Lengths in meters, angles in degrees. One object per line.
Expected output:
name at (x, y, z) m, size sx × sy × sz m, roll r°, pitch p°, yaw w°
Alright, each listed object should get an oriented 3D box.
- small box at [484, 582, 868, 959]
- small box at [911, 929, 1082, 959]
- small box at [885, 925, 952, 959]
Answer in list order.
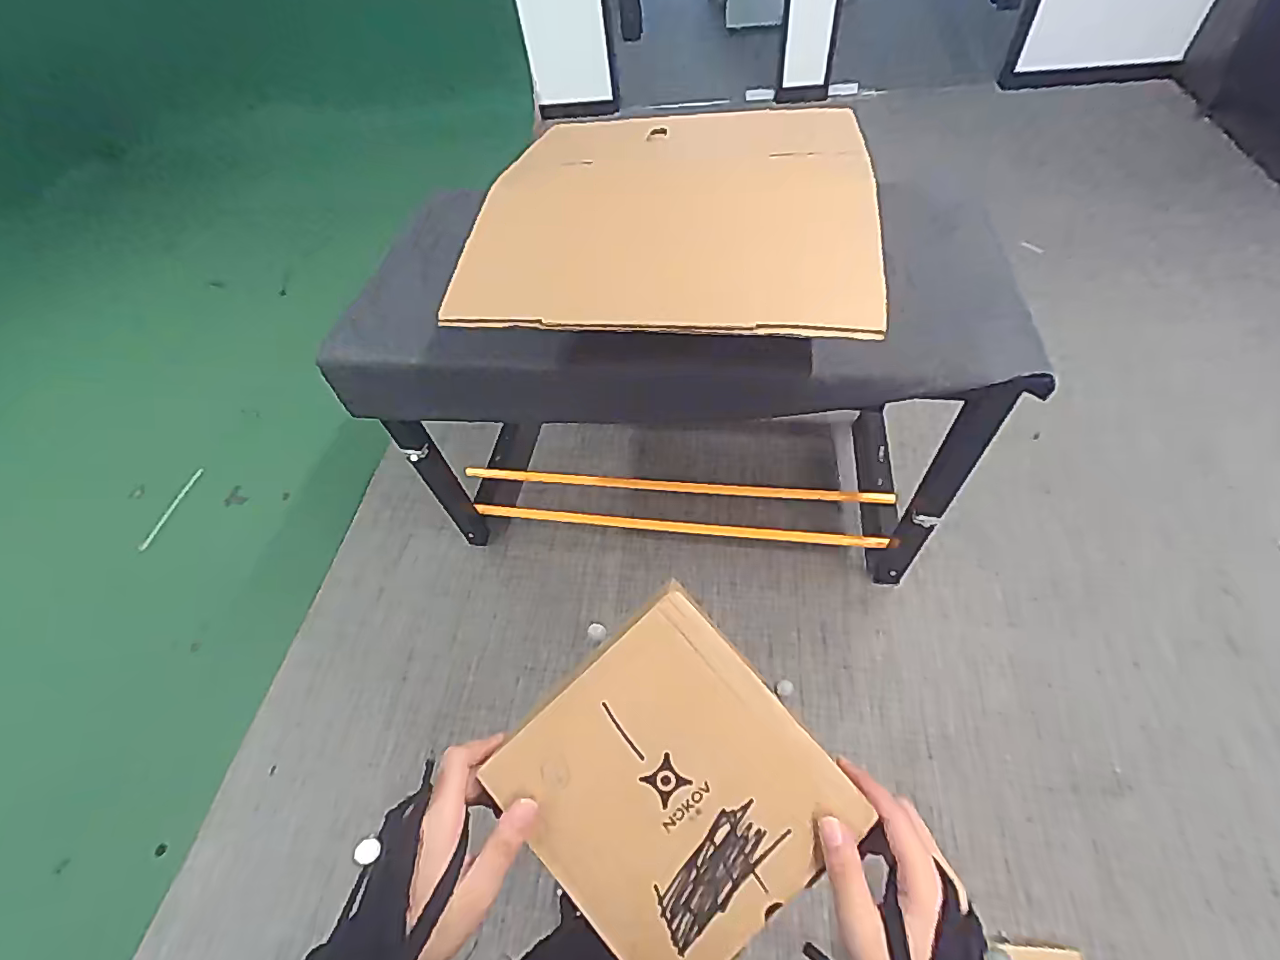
small box at (0.024, 0.191, 0.402) m, size 0.168 × 0.176 × 0.179 m, roll -42°, pitch 82°, yaw -4°
small box at (0.511, 0.745, 0.759) m, size 0.179 × 0.176 × 0.168 m, roll -2°, pitch 53°, yaw 6°
small box at (0.520, 0.849, 0.885) m, size 0.168 × 0.176 × 0.179 m, roll -1°, pitch 54°, yaw 6°
